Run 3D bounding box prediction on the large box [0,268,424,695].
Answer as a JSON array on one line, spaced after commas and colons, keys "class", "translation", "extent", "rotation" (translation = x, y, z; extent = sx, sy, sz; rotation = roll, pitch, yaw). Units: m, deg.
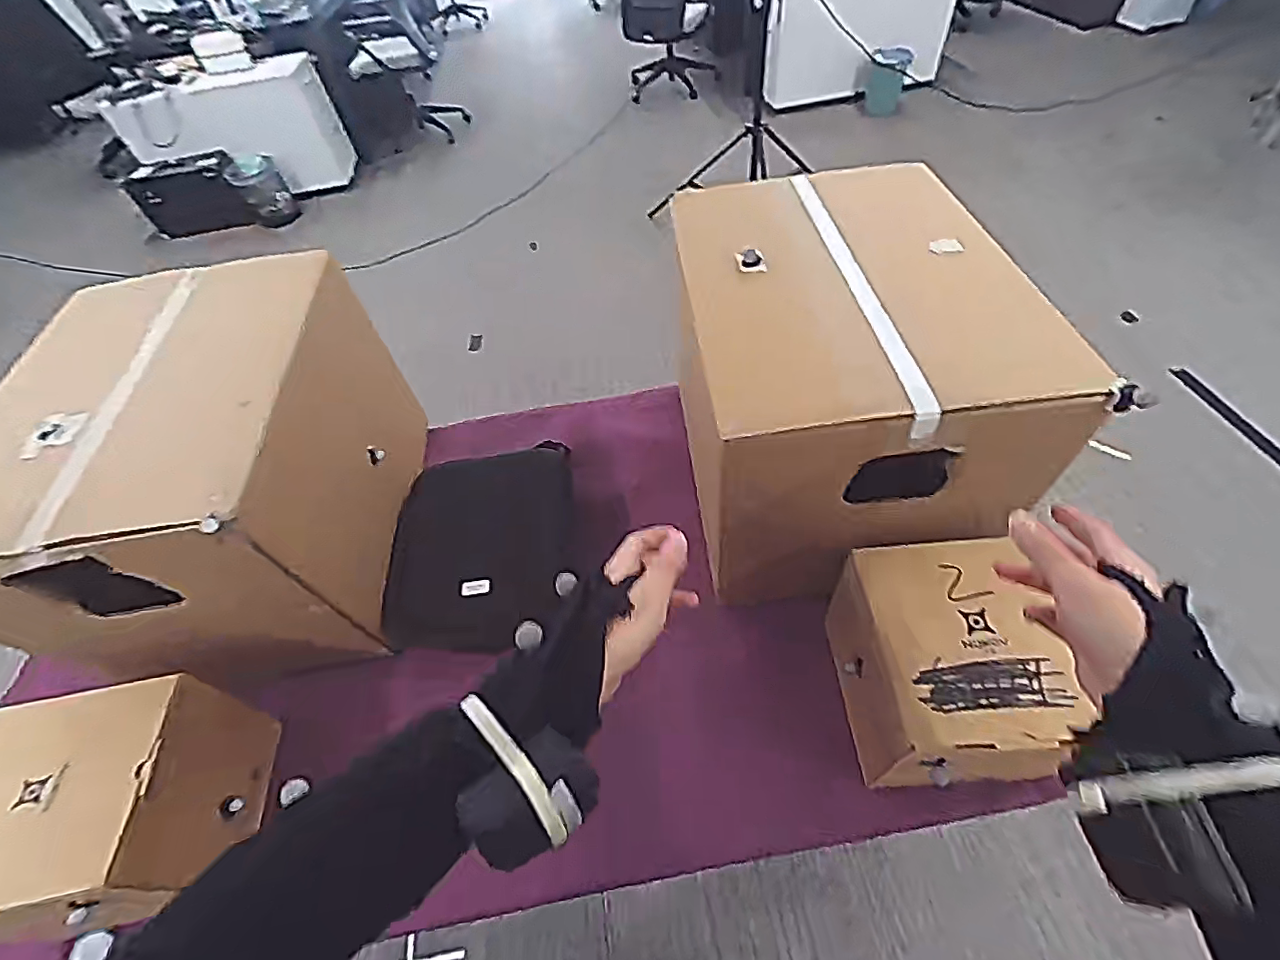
[{"class": "large box", "translation": [-0.488, 0.003, 0.676], "extent": [0.320, 0.320, 0.408], "rotation": [-11, 54, -1]}]
